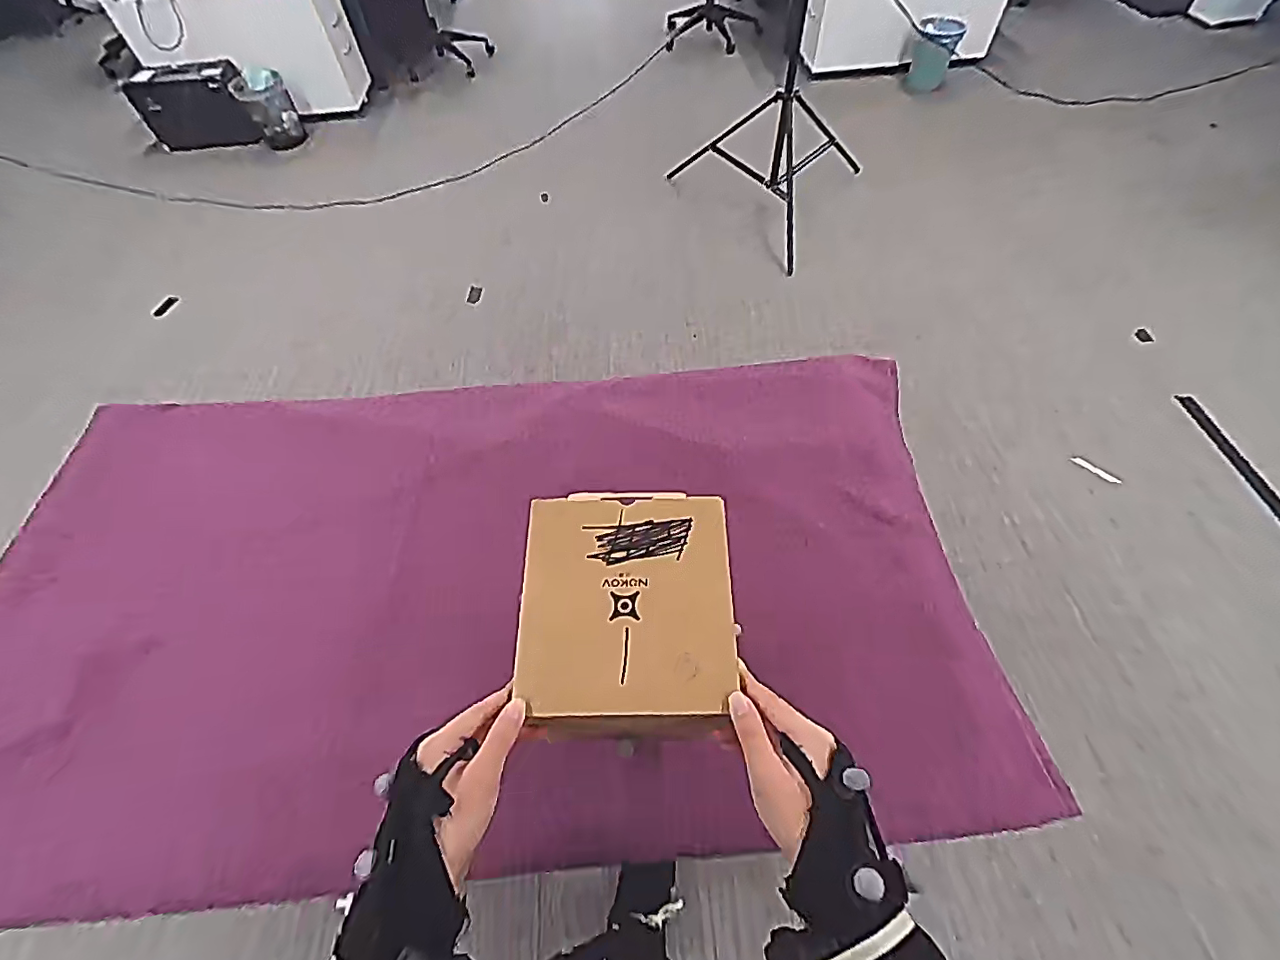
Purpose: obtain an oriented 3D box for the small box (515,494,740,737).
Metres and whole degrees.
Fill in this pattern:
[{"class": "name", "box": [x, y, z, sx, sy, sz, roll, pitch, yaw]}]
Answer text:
[{"class": "small box", "box": [-0.008, 0.129, 0.498, 0.168, 0.176, 0.179, -1, 58, 1]}]
